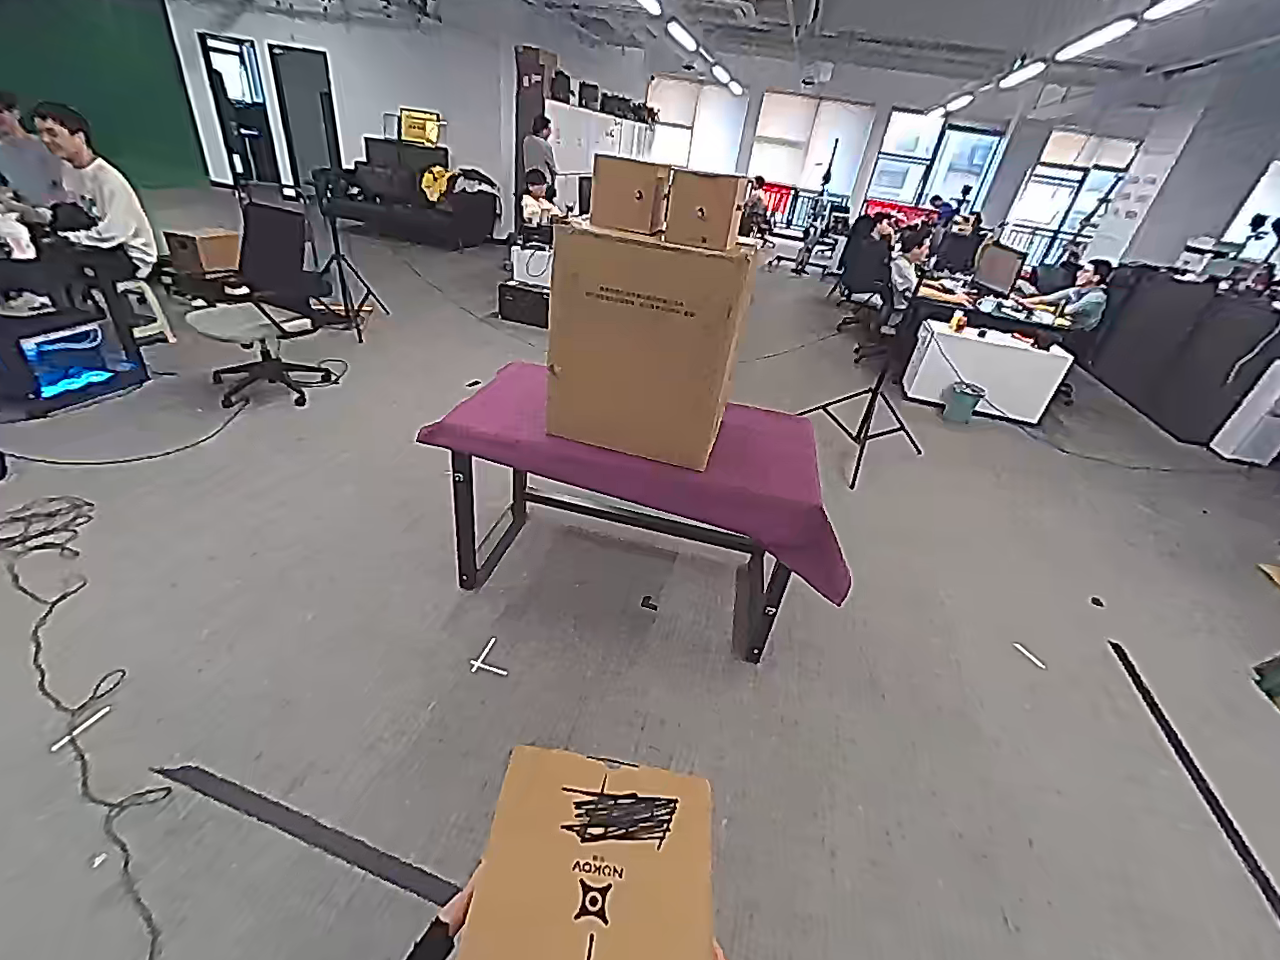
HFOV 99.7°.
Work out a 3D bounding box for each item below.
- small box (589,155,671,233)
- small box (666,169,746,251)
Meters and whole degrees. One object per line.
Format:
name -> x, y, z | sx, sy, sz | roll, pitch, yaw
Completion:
small box -> -0.029, -0.779, 1.478 | 0.179, 0.176, 0.168 | 14, 31, 9
small box -> 0.168, -0.700, 1.401 | 0.168, 0.176, 0.179 | 14, 32, 10
